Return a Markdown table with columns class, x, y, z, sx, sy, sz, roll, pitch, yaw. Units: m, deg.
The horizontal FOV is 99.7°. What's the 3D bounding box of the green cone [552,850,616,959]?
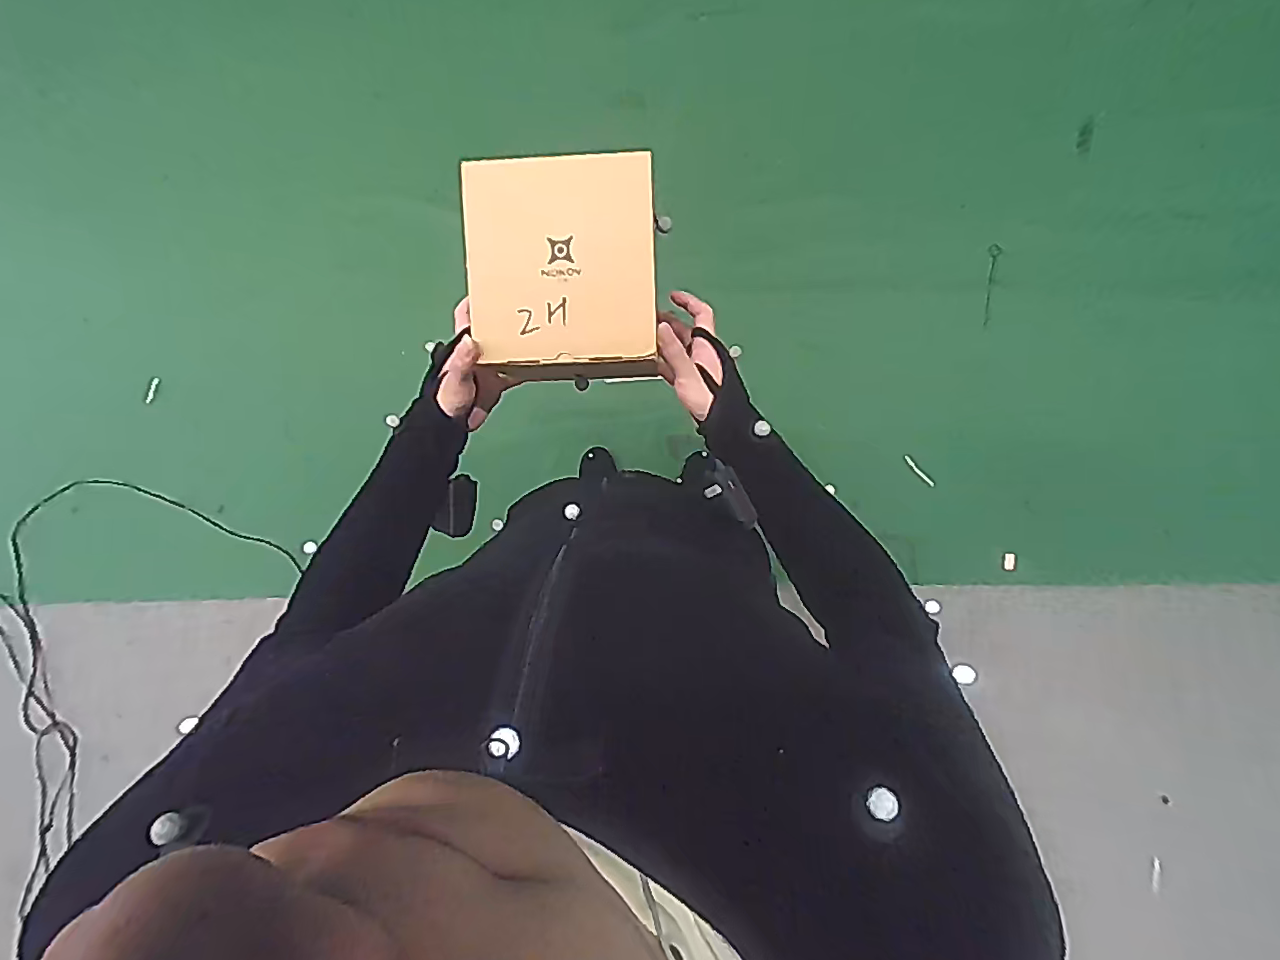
| class | x | y | z | sx | sy | sz | roll | pitch | yaw |
| --- | --- | --- | --- | --- | --- | --- | --- | --- | --- |
| green cone | -0.190 | 1.288 | 1.556 | 0.202 | 0.368 | 0.200 | -2 | 93 | 4 |
